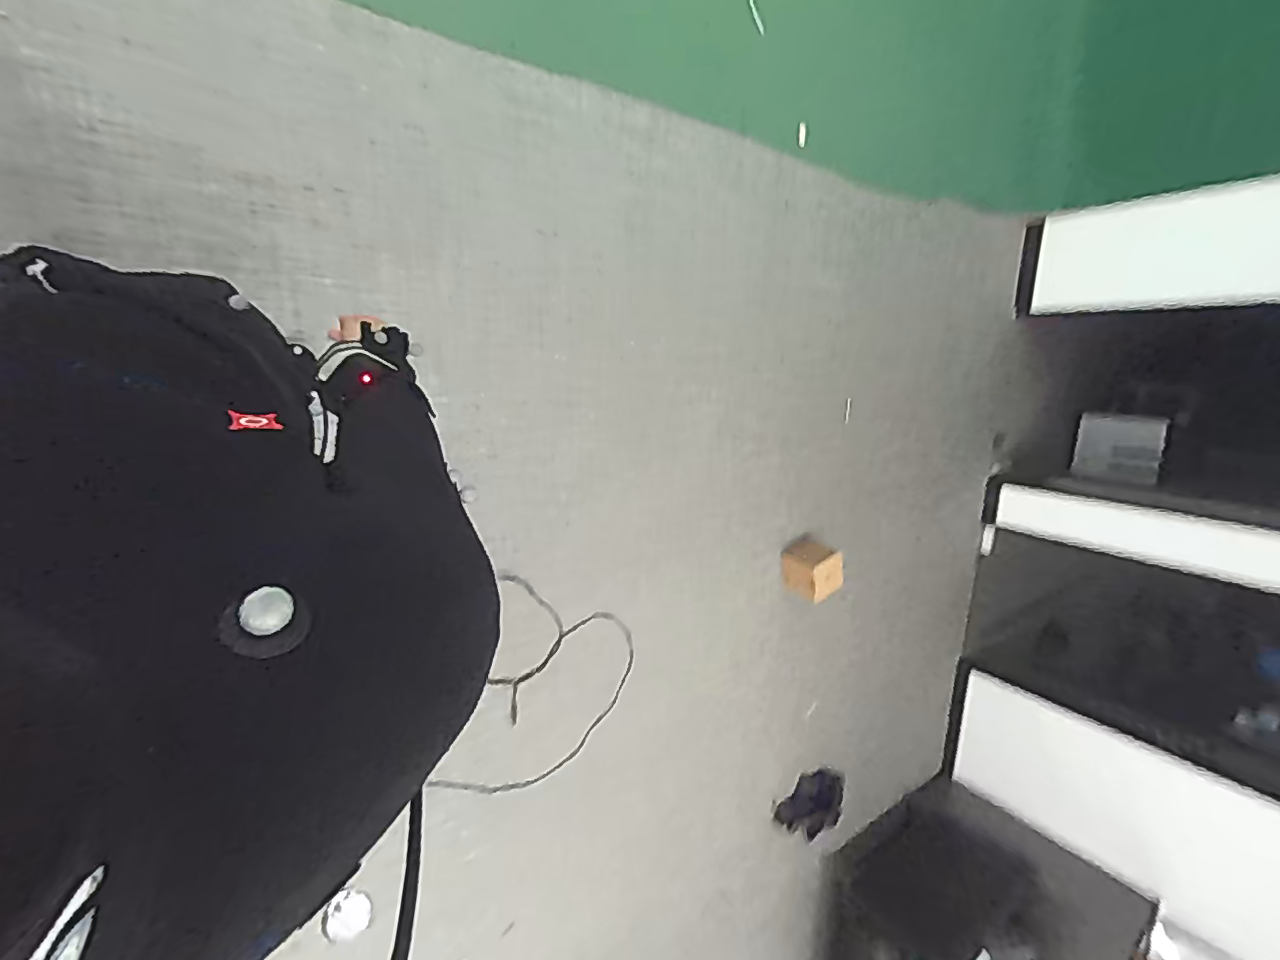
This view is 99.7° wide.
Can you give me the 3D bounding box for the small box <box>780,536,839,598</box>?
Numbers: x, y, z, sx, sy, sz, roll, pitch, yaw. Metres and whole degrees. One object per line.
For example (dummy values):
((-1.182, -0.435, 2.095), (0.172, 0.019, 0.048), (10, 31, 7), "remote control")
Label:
((0.690, 0.350, 2.213), (0.179, 0.176, 0.168), (-23, 115, -31), "small box")
